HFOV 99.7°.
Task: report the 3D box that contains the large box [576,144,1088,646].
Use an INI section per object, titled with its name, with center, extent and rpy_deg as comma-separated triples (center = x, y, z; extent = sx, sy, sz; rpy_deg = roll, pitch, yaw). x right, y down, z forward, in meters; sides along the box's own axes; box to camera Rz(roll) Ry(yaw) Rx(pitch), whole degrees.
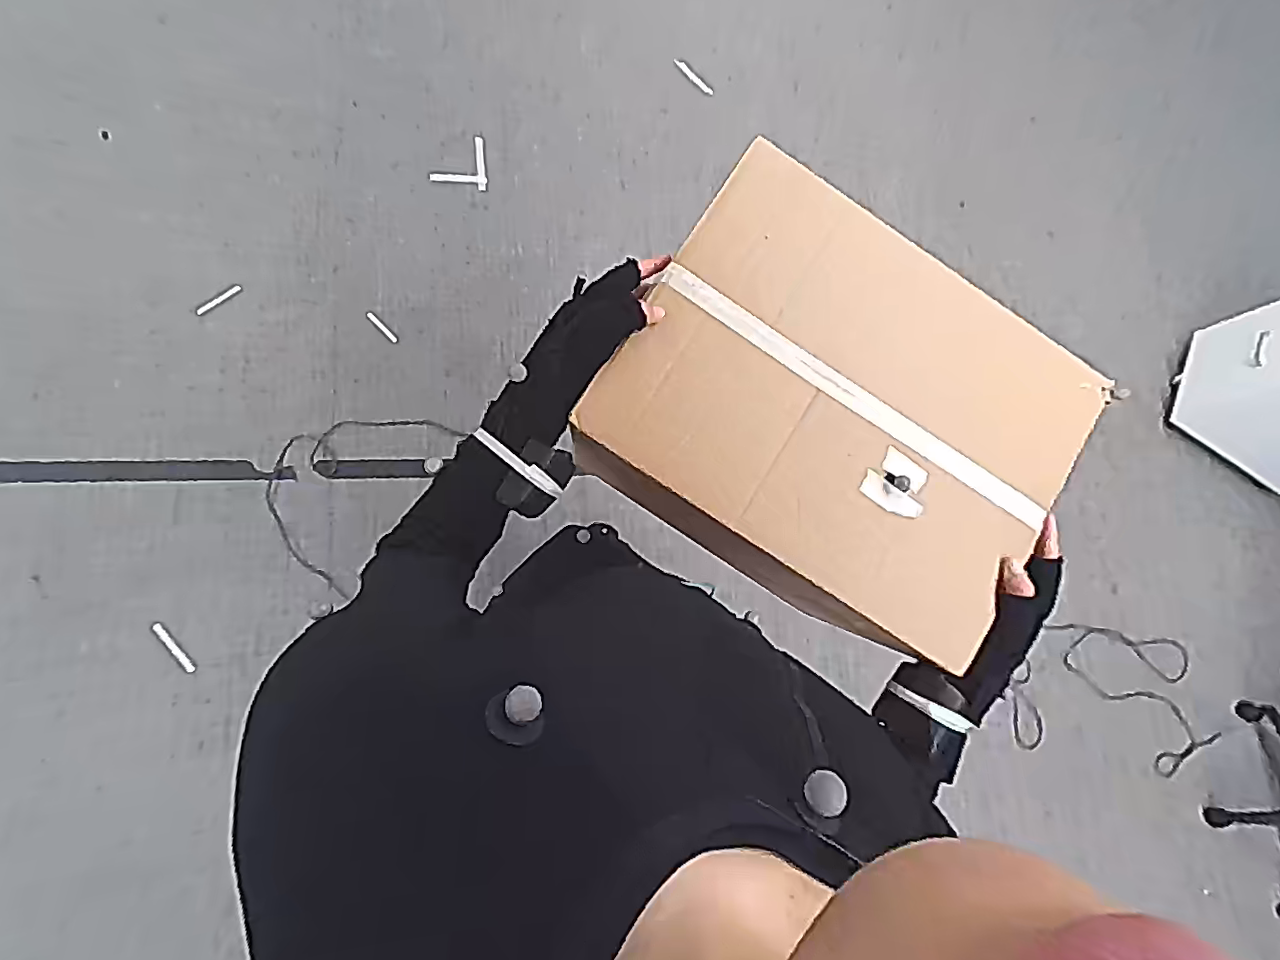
[large box]
center = 0.171, -0.071, 0.639
extent = 0.408, 0.320, 0.320
rpy_deg = 34, 84, -4
